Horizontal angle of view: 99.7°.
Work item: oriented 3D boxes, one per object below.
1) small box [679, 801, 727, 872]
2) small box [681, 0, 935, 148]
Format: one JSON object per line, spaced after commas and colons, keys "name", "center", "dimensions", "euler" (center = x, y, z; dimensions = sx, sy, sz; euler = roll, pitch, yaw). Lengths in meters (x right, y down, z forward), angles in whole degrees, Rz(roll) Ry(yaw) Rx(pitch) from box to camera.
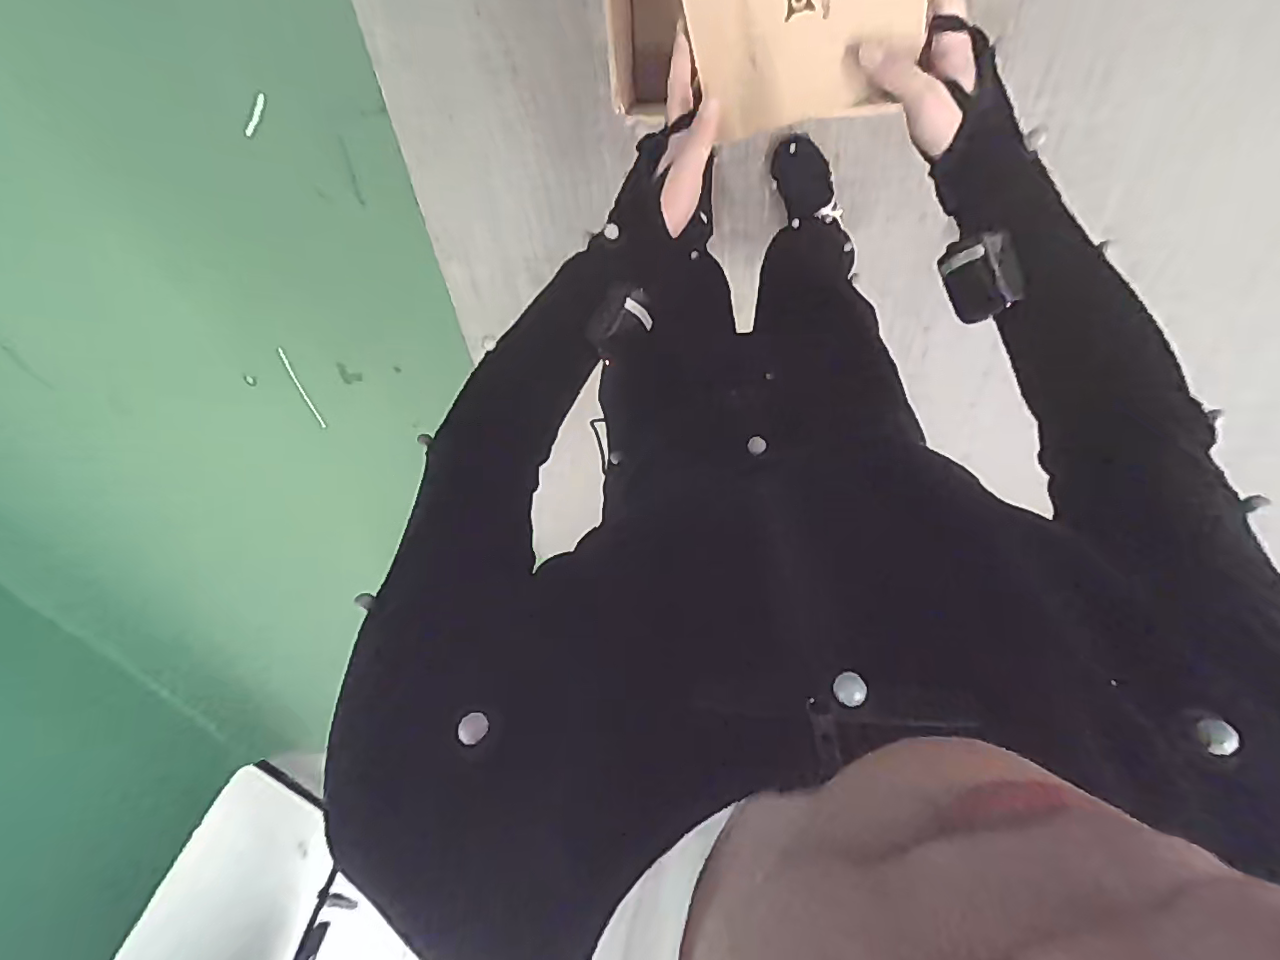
{"name": "small box", "center": [0.237, 1.316, 1.998], "dimensions": [0.168, 0.176, 0.179], "euler": [-1, 130, 11]}
{"name": "small box", "center": [0.124, -0.415, 0.435], "dimensions": [0.179, 0.176, 0.168], "euler": [-8, 143, 18]}
